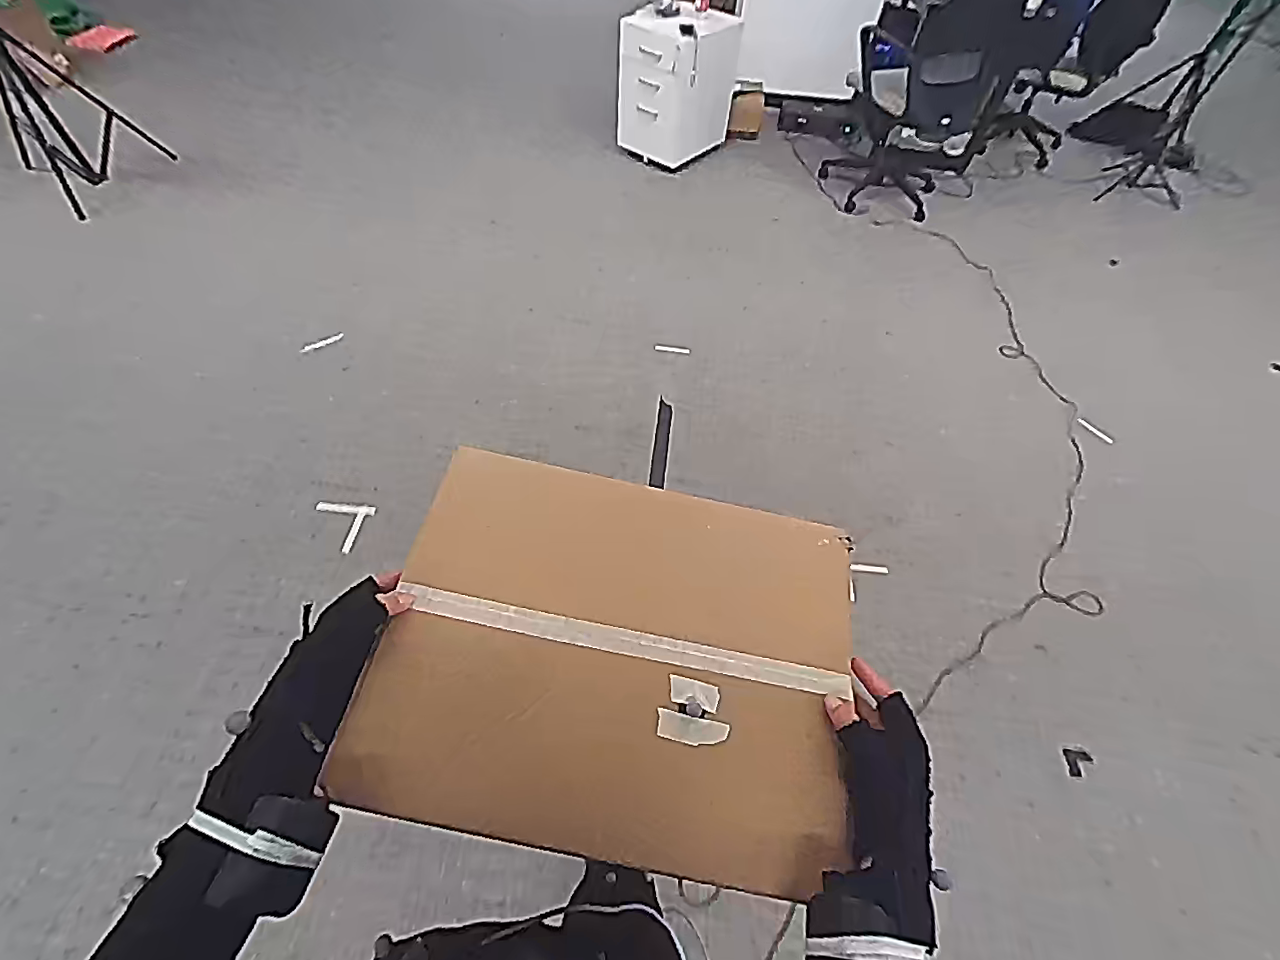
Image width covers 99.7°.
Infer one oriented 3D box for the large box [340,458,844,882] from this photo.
[{"bbox_3d":[-0.032,0.215,0.615,0.408,0.320,0.320,12,61,-1],"label":"large box"}]
